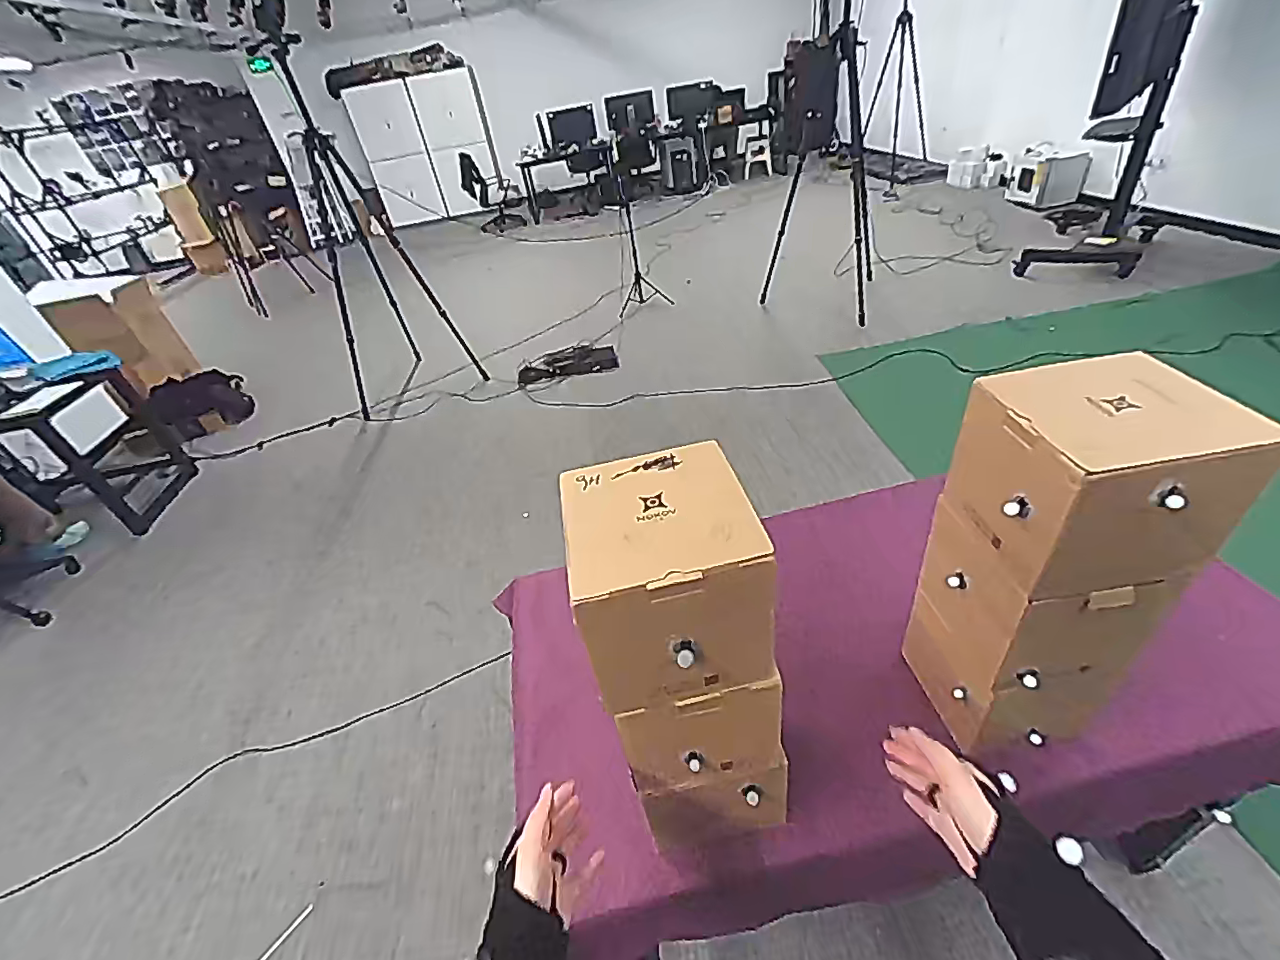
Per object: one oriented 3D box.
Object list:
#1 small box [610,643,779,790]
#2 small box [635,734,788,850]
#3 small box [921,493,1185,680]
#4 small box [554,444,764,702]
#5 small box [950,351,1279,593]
[{"bbox_3d":[0.054,0.223,0.629,0.168,0.176,0.179,-12,37,0],"label":"small box"},{"bbox_3d":[0.085,0.356,0.718,0.179,0.176,0.168,-13,36,-1],"label":"small box"},{"bbox_3d":[0.465,0.119,0.647,0.168,0.176,0.179,-11,36,2],"label":"small box"},{"bbox_3d":[0.018,0.094,0.533,0.168,0.176,0.179,-13,38,-2],"label":"small box"},{"bbox_3d":[0.441,-0.006,0.544,0.179,0.176,0.168,-10,38,2],"label":"small box"}]
